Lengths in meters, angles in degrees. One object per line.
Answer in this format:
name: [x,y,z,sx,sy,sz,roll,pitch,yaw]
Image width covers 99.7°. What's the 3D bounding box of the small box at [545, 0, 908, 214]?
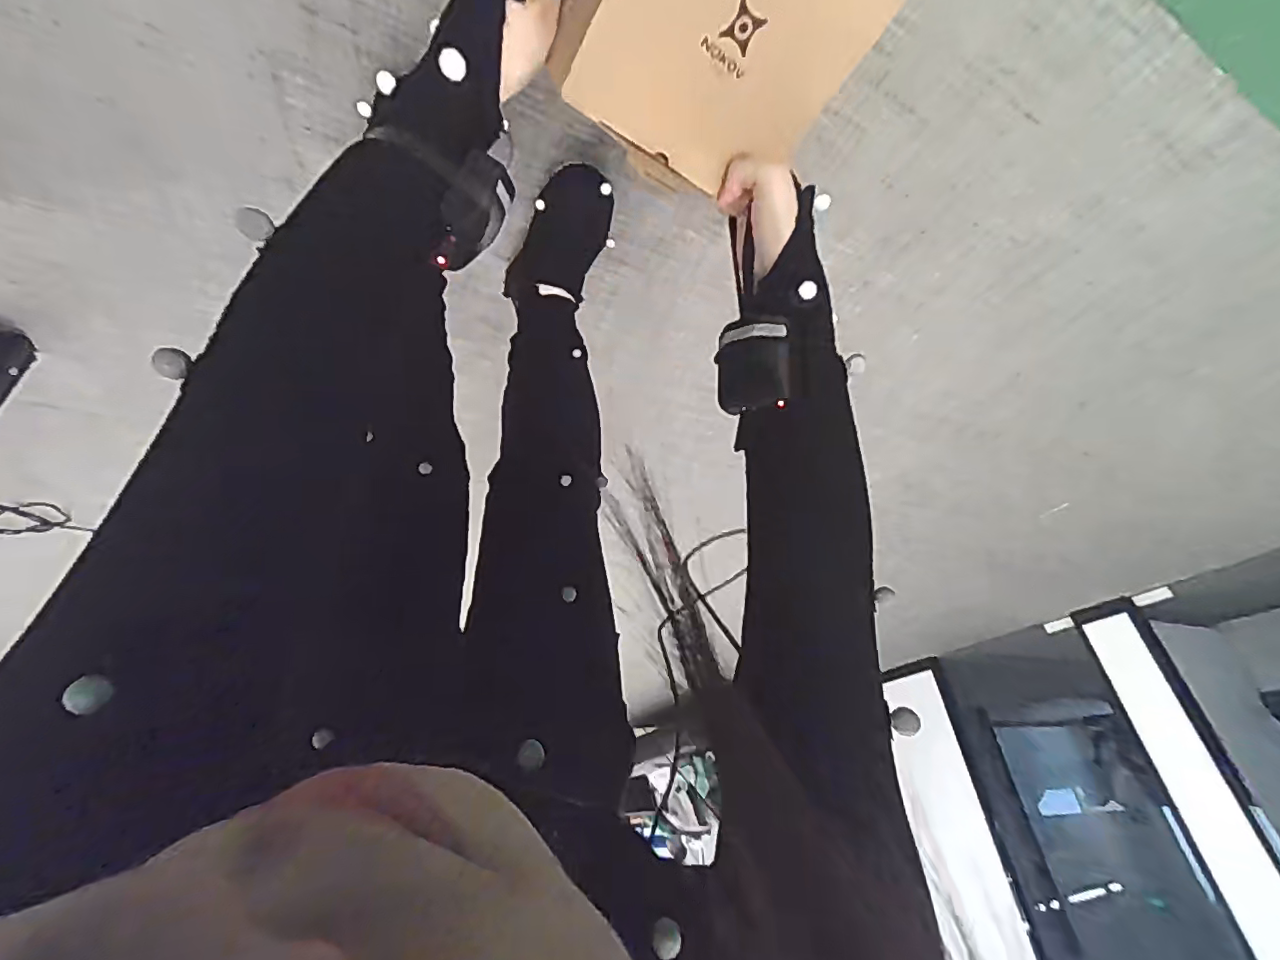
small box: [0.045,-0.334,0.371,0.168,0.176,0.179,13,136,-33]
